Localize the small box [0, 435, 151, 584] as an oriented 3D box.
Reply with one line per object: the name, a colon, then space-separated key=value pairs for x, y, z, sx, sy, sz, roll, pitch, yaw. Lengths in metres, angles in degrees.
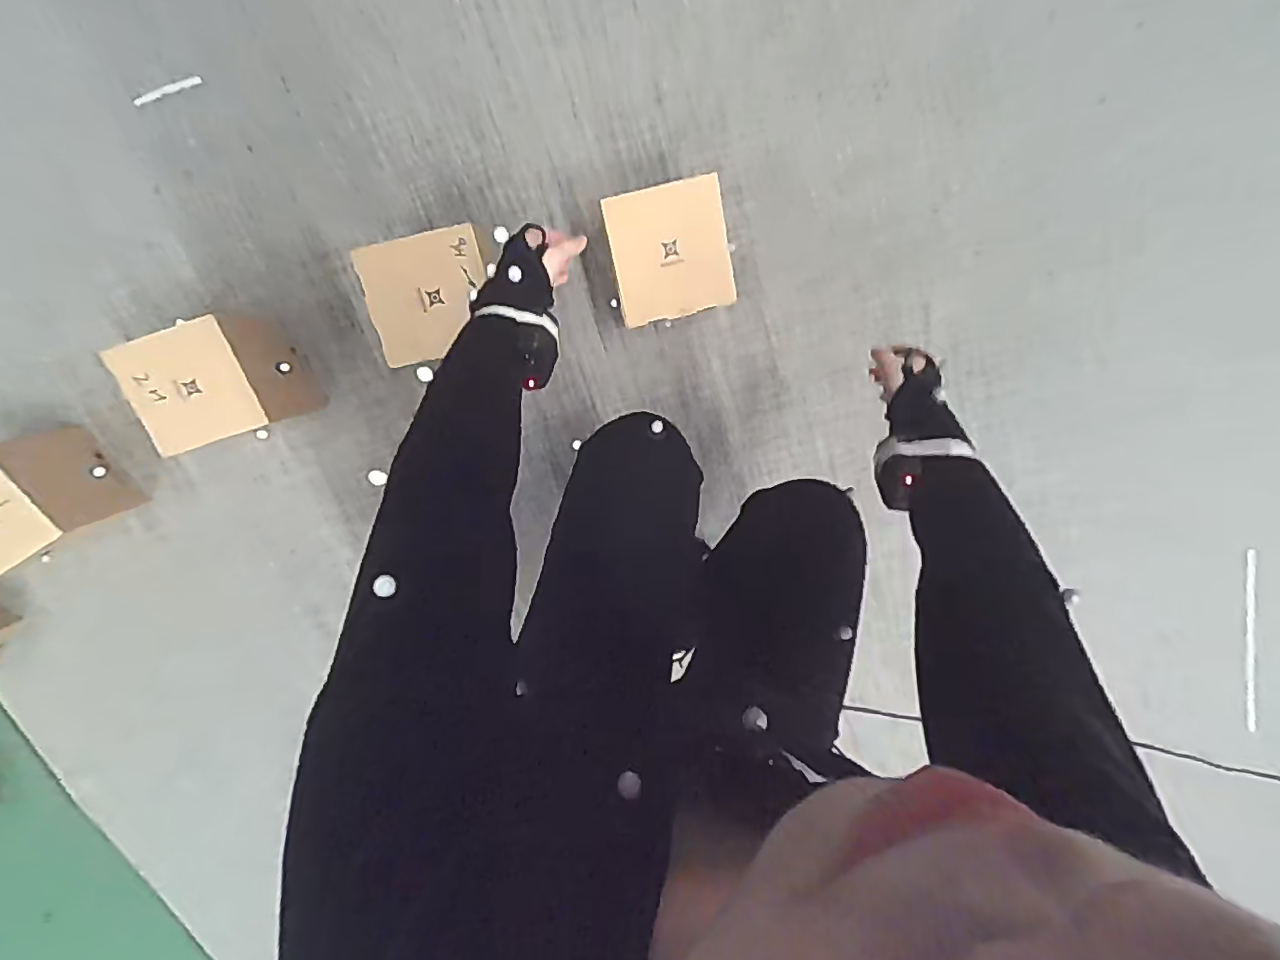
small box: x=-0.994 y=0.045 z=0.900 sx=0.179 sy=0.176 sz=0.168 roll=-30 pitch=104 yaw=5

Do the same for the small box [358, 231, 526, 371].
small box: x=-0.294 y=-0.270 z=0.842 sx=0.179 sy=0.176 sz=0.168 roll=-12 pitch=106 yaw=2

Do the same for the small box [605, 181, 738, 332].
small box: x=0.042 y=-0.333 z=0.841 sx=0.168 sy=0.176 sz=0.179 roll=-13 pitch=106 yaw=1

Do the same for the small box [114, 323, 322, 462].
small box: x=-0.647 y=-0.146 z=0.862 sx=0.179 sy=0.176 sz=0.168 roll=-17 pitch=104 yaw=2
